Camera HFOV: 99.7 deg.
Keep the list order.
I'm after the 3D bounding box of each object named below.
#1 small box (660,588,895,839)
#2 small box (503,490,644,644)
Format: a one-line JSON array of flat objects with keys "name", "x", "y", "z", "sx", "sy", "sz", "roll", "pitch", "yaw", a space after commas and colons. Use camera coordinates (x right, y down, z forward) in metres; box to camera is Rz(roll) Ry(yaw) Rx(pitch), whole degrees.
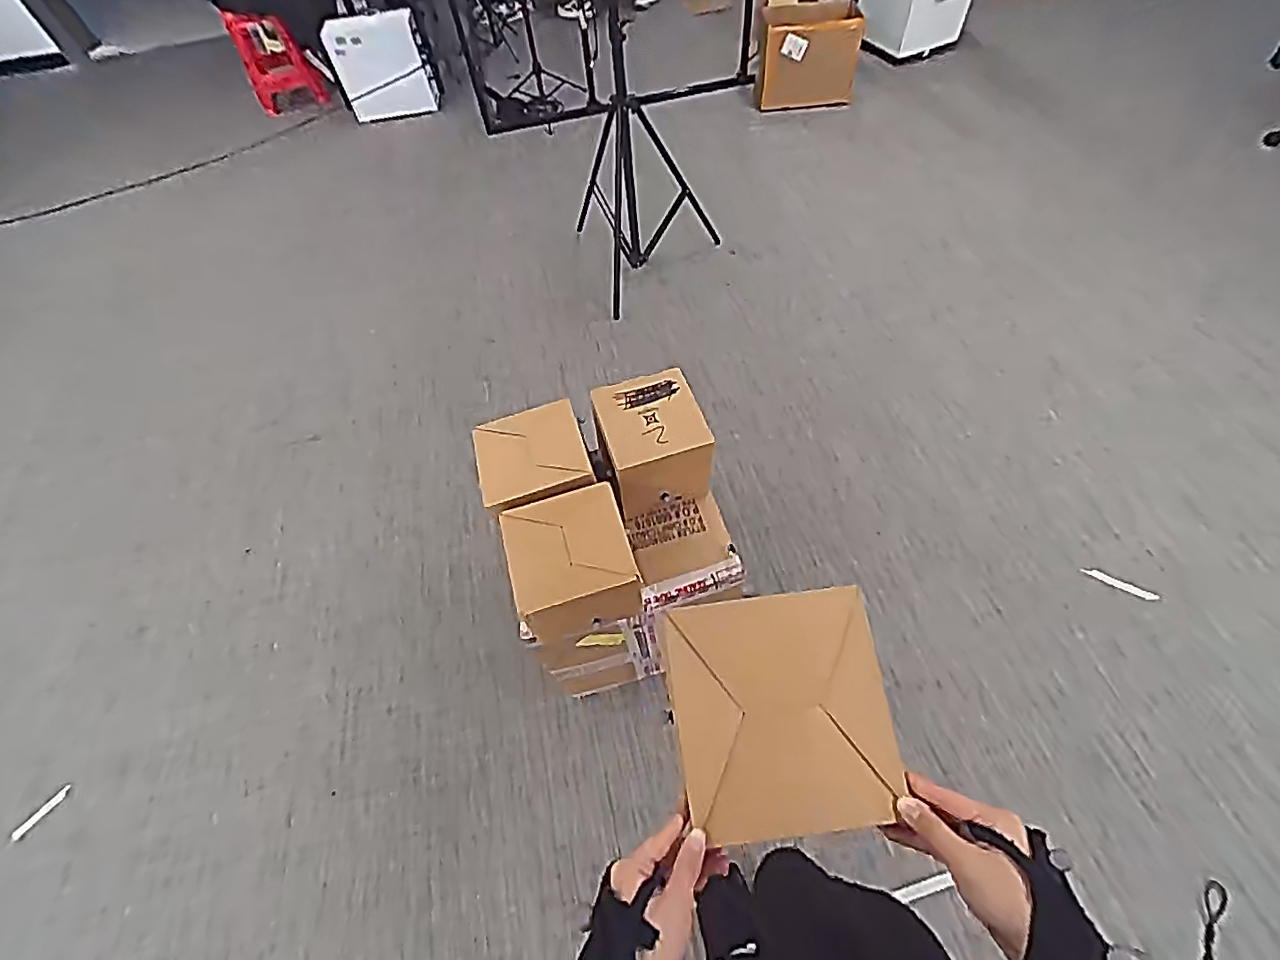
[{"name": "small box", "x": 0.111, "y": 0.204, "z": 0.505, "sx": 0.168, "sy": 0.176, "sz": 0.179, "roll": -7, "pitch": 75, "yaw": -2}, {"name": "small box", "x": -0.104, "y": 0.137, "z": 0.856, "sx": 0.179, "sy": 0.176, "sz": 0.168, "roll": -16, "pitch": 60, "yaw": -5}]
